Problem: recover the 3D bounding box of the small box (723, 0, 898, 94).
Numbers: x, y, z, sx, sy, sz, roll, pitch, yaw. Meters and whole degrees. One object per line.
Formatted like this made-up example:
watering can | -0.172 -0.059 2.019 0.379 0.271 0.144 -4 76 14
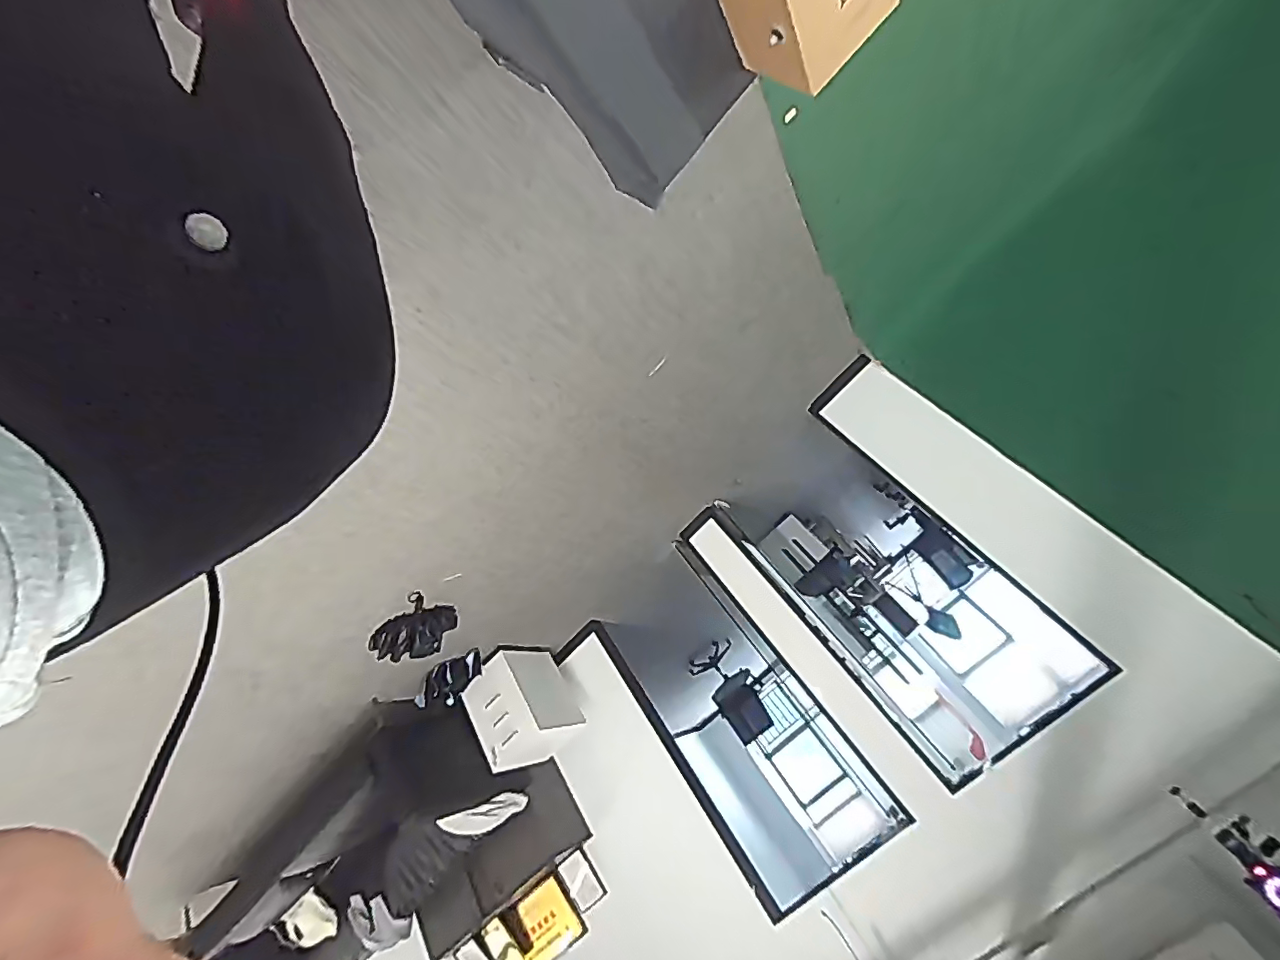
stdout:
small box | 0.224 -0.694 0.746 0.168 0.176 0.179 -44 150 12
